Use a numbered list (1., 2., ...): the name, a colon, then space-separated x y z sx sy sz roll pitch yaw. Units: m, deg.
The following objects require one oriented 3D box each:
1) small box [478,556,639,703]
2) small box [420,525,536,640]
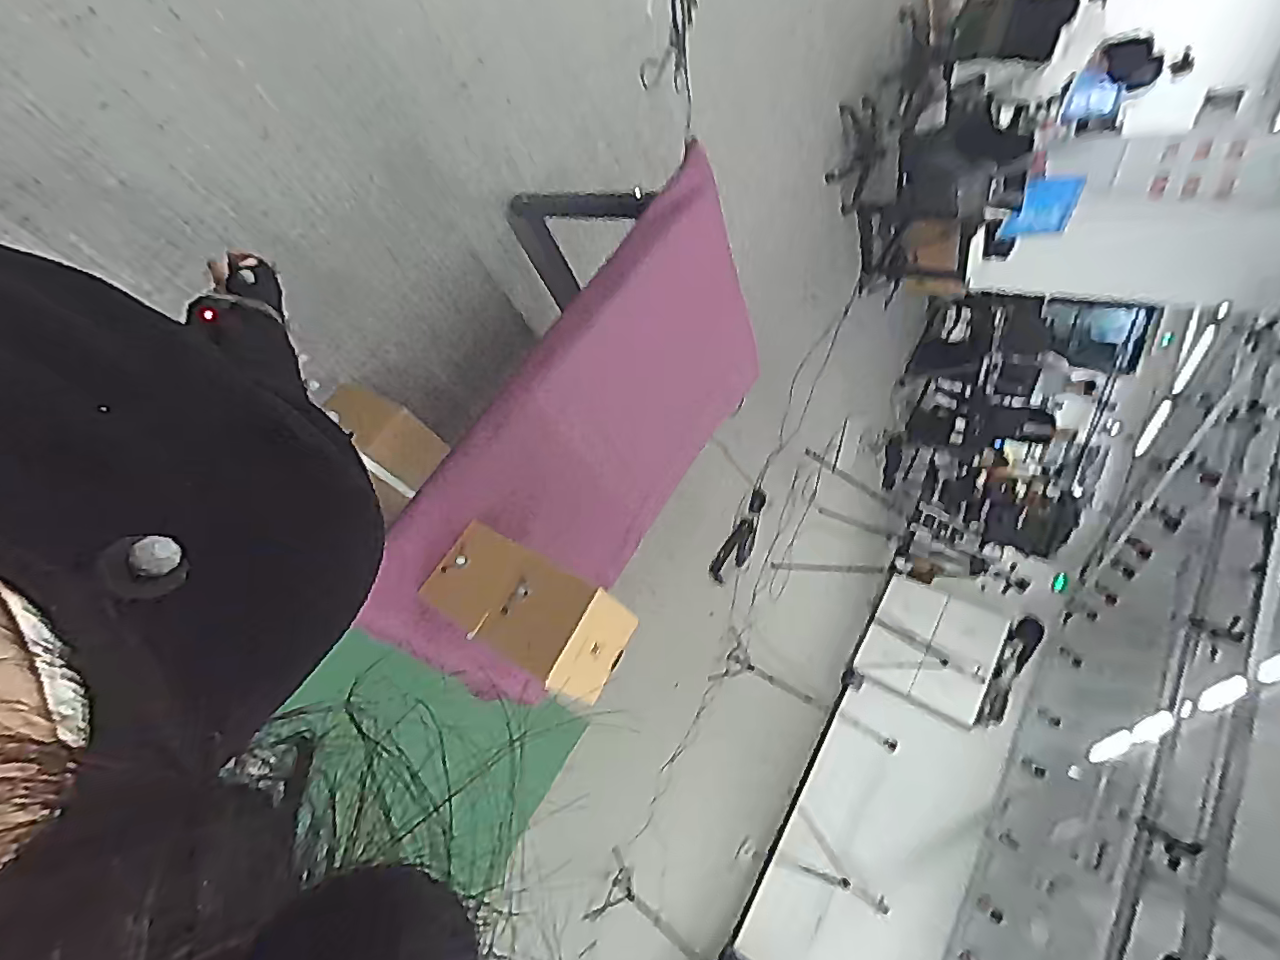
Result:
1. small box: -0.136 0.251 0.925 0.168 0.176 0.179 -59 145 -18
2. small box: -0.267 0.207 1.011 0.168 0.176 0.179 -57 144 -19
